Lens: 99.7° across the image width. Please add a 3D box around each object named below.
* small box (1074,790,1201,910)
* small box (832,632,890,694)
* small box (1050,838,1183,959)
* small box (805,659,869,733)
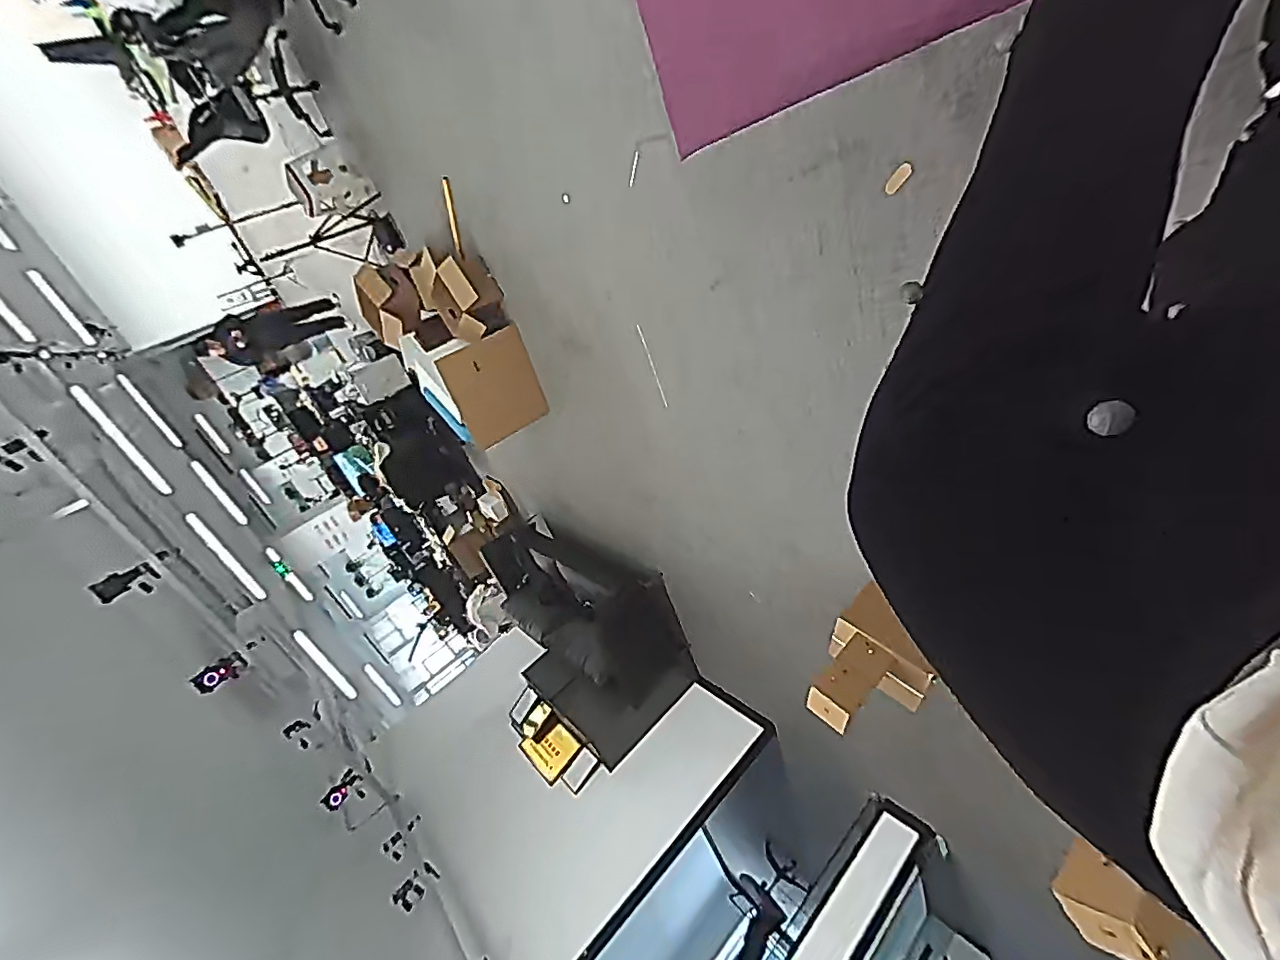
[{"bbox_3d":[1.302,0.955,1.417,0.168,0.176,0.179,54,153,-3],"label":"small box"},{"bbox_3d":[0.889,0.761,2.204,0.168,0.176,0.179,33,146,34],"label":"small box"},{"bbox_3d":[1.183,1.040,1.344,0.168,0.176,0.179,54,154,-3],"label":"small box"},{"bbox_3d":[0.774,0.843,2.124,0.168,0.176,0.179,33,146,35],"label":"small box"}]
